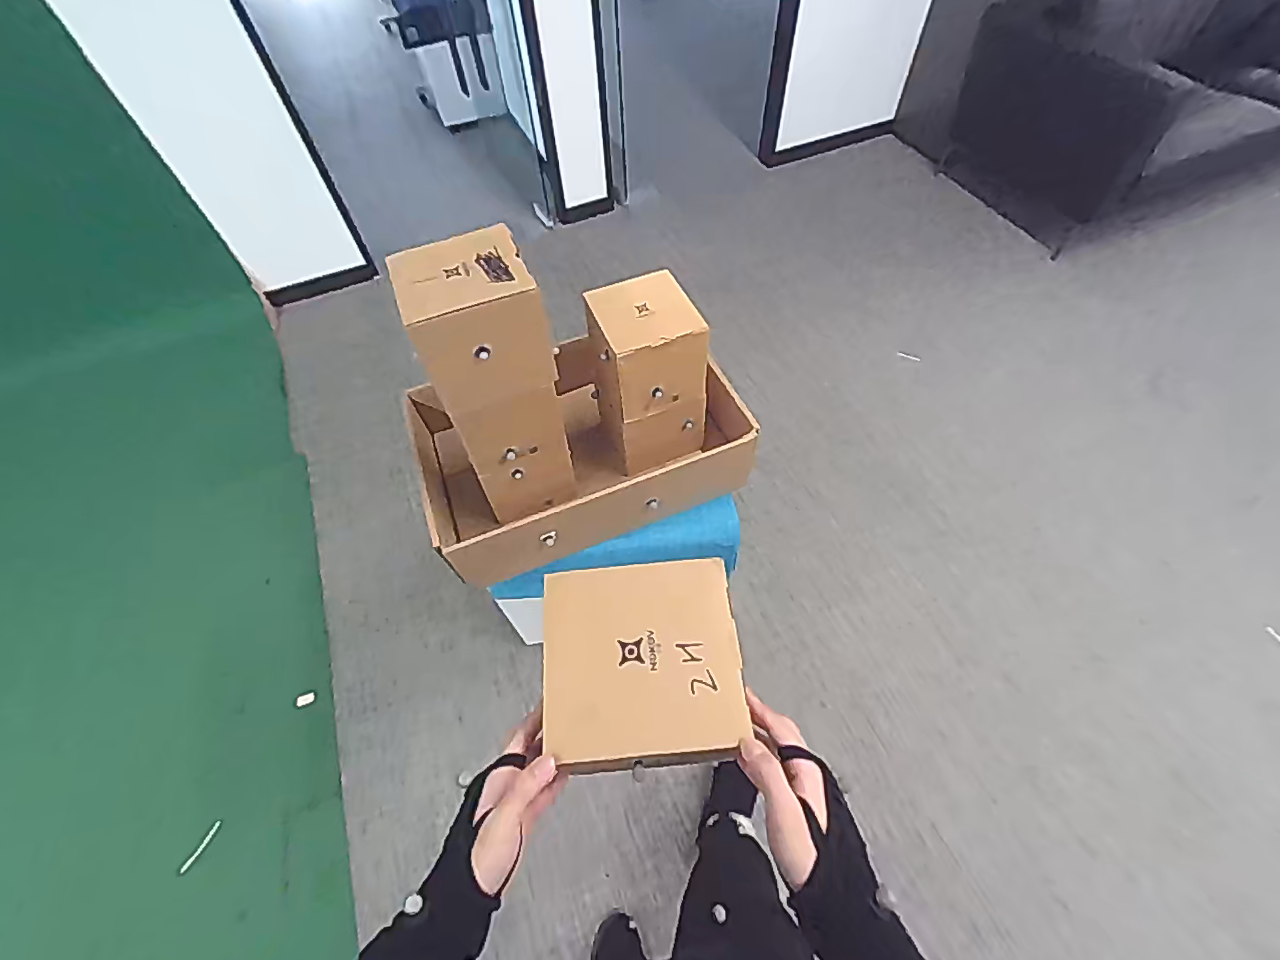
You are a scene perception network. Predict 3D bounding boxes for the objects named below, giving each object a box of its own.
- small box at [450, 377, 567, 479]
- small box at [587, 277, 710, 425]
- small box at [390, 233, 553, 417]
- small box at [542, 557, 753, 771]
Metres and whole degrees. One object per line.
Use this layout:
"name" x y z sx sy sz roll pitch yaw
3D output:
"small box" -0.234 -0.132 0.928 0.168 0.176 0.179 -19 57 -11
"small box" 0.012 -0.231 0.981 0.168 0.176 0.179 -20 56 -10
"small box" -0.236 -0.223 0.791 0.179 0.176 0.168 -20 56 -10
"small box" 0.005 0.192 0.547 0.179 0.176 0.168 -5 58 -1
